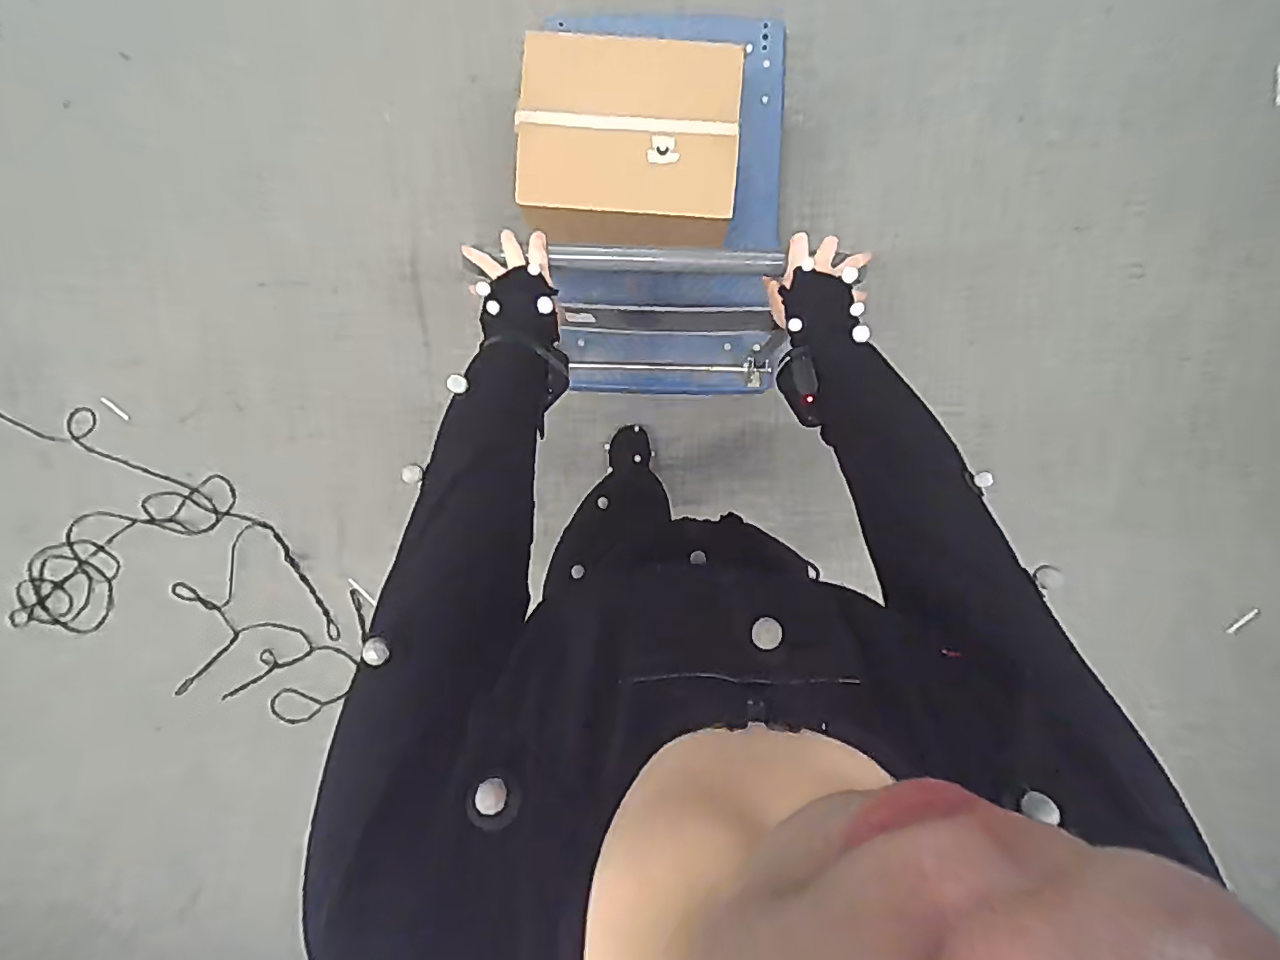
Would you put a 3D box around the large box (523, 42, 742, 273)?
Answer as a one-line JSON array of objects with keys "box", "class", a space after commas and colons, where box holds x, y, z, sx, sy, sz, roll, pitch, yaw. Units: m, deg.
[{"box": [-0.017, -0.658, 1.160, 0.408, 0.320, 0.320, 4, 92, 0], "class": "large box"}]
